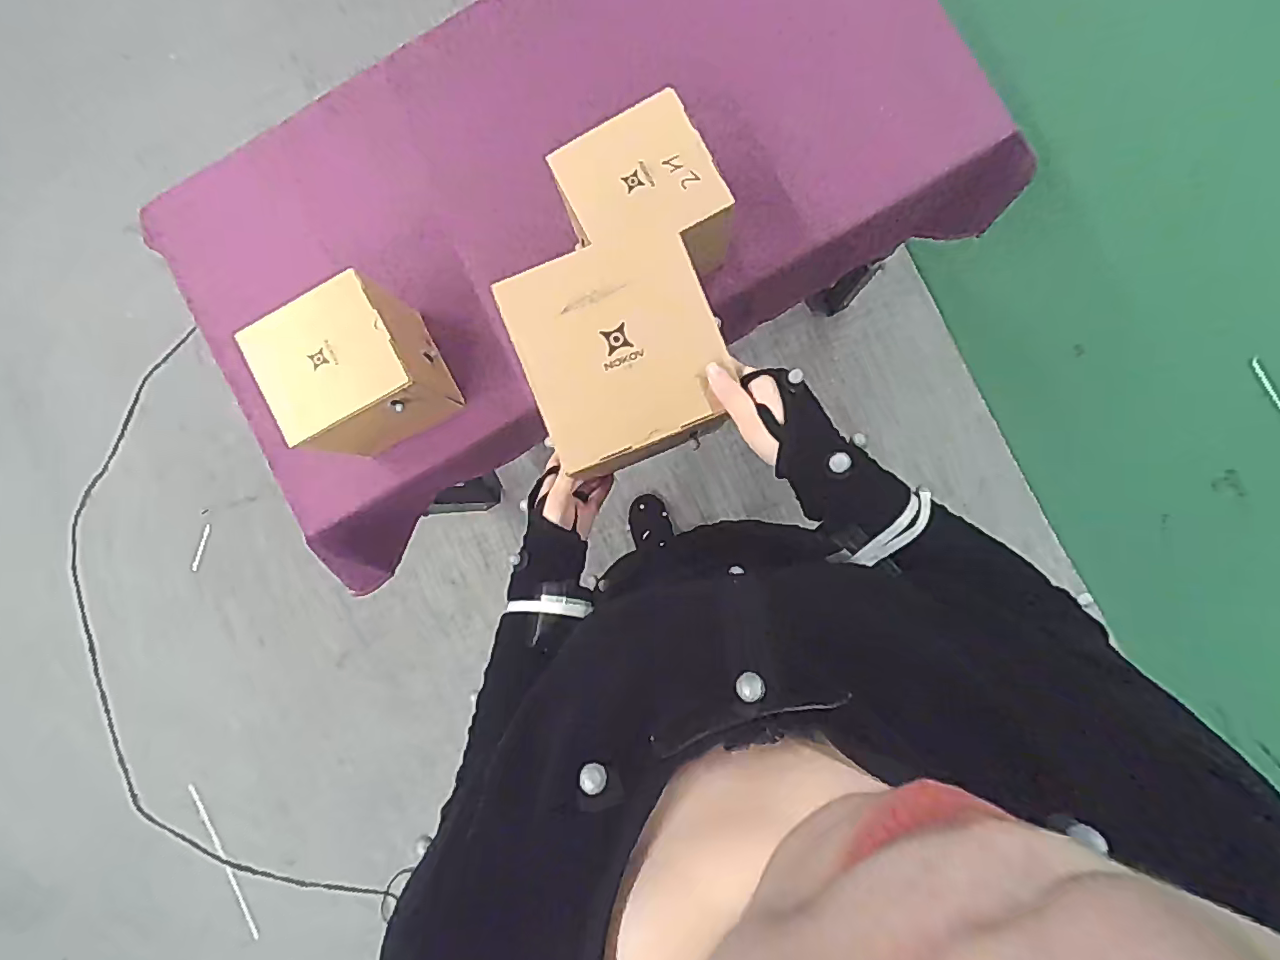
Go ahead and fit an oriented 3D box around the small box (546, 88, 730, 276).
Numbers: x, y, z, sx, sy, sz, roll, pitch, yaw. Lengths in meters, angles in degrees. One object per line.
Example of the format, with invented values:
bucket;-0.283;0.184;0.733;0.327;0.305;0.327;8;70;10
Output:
small box;0.002;-0.356;0.723;0.179;0.176;0.168;-27;87;3

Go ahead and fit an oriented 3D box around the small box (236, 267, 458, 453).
small box;-0.387;-0.149;0.744;0.179;0.176;0.168;-29;86;1

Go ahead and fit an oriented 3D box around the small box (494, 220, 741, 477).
small box;-0.017;-0.111;0.534;0.168;0.176;0.179;-22;88;-1
